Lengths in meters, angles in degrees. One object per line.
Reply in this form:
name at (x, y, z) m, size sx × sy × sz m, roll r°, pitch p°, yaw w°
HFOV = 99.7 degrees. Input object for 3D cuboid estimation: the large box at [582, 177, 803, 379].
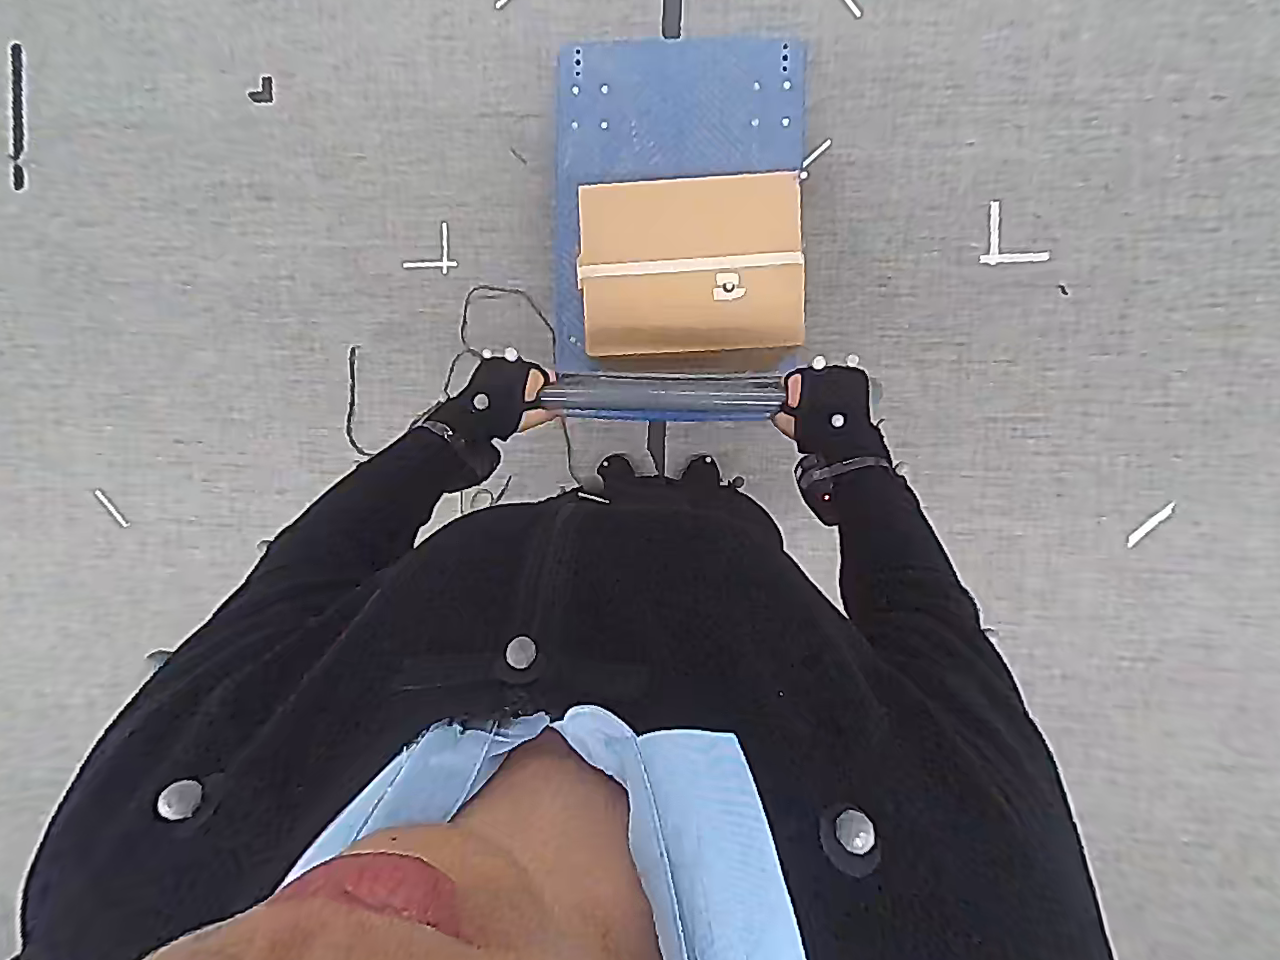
large box at (0.101, -0.400, 1.155) m, size 0.408 × 0.320 × 0.320 m, roll -3°, pitch 94°, yaw 2°
